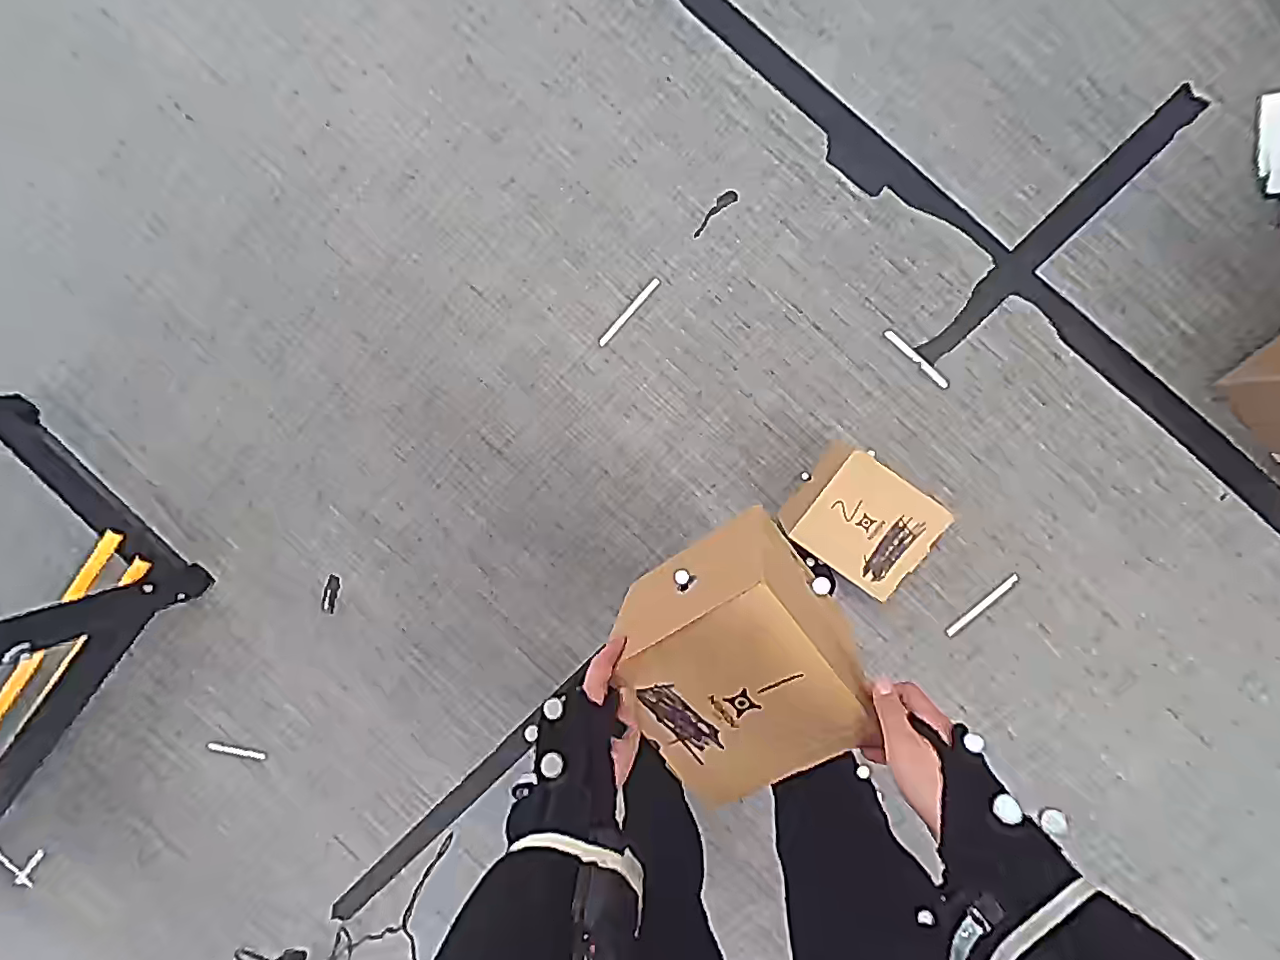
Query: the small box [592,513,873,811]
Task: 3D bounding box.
[{"bbox_3d":[0.087,0.162,0.518,0.179,0.176,0.168,-36,99,19],"label":"small box"}]
